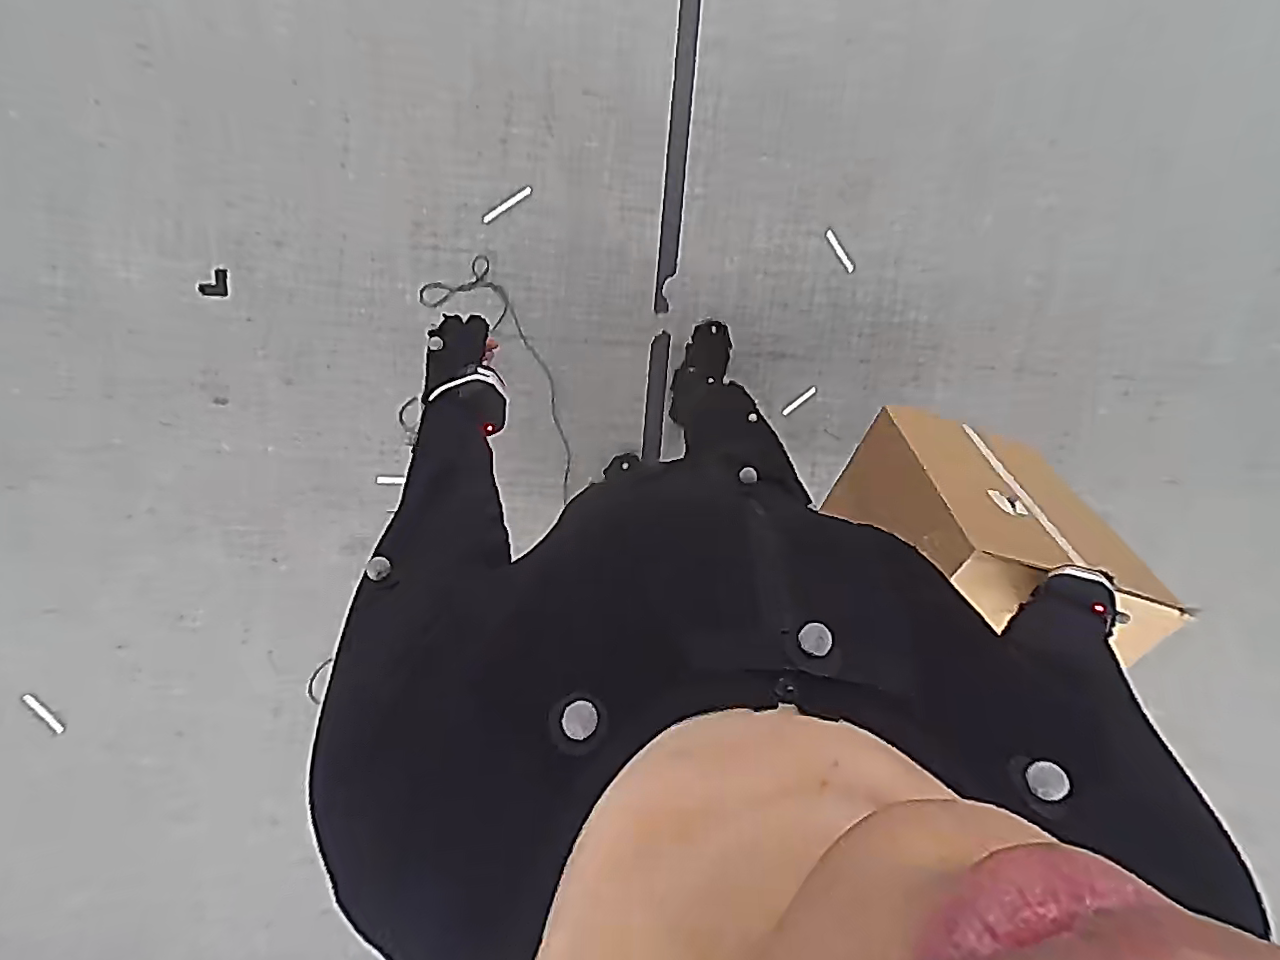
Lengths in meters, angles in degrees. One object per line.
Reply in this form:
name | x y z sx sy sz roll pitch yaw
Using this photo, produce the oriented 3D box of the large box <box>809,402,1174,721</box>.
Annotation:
large box | 0.533 0.127 0.940 0.320 0.408 0.320 16 126 -6
